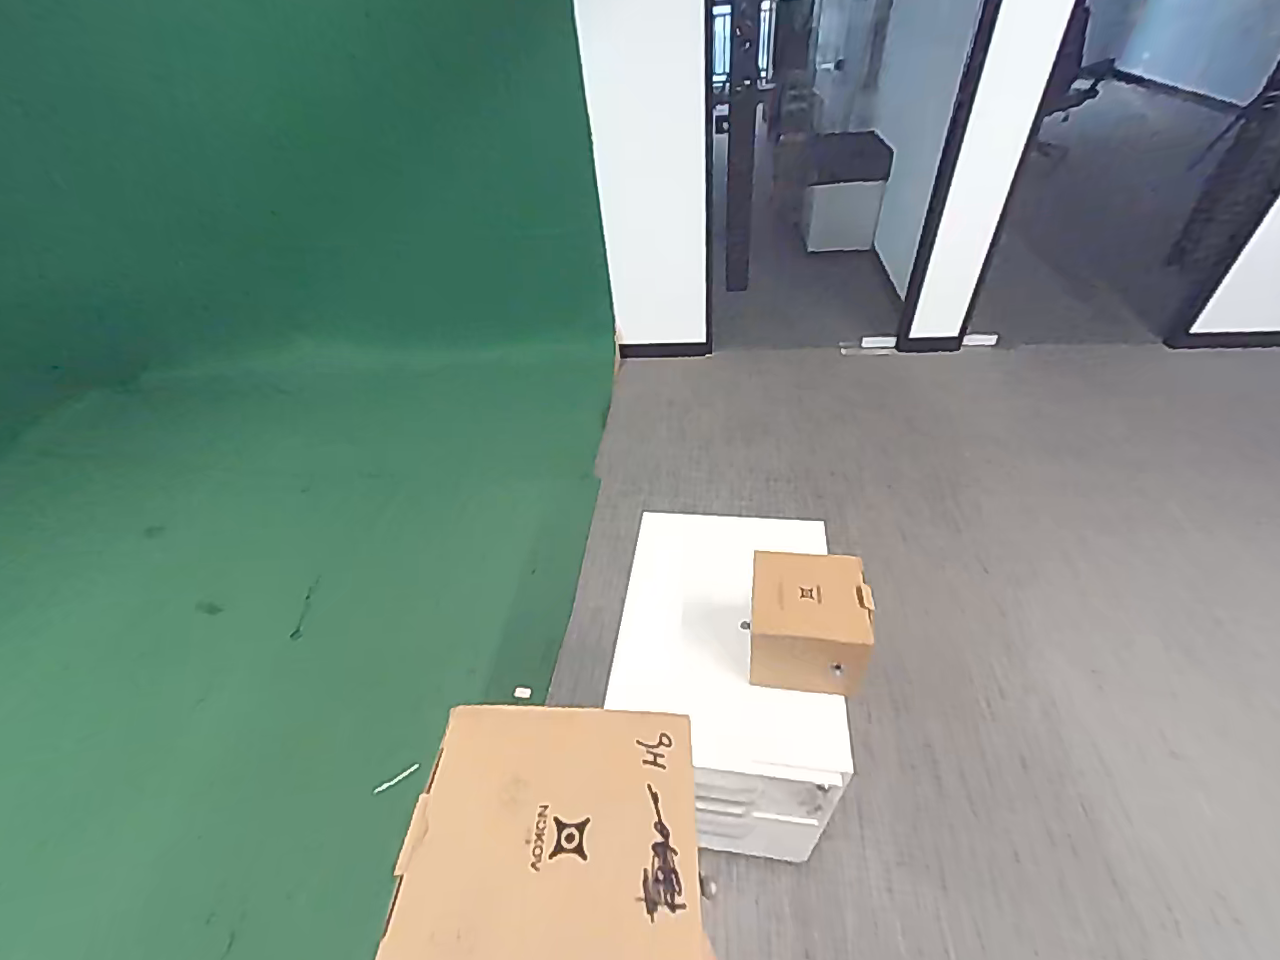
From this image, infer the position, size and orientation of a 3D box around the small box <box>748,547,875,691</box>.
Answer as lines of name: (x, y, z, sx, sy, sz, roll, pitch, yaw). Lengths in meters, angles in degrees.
small box: (0.274, 0.233, 0.901, 0.179, 0.176, 0.168, 2, 43, 11)

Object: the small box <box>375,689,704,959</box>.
small box: (-0.051, 0.273, 0.388, 0.179, 0.176, 0.168, 2, 39, 0)
